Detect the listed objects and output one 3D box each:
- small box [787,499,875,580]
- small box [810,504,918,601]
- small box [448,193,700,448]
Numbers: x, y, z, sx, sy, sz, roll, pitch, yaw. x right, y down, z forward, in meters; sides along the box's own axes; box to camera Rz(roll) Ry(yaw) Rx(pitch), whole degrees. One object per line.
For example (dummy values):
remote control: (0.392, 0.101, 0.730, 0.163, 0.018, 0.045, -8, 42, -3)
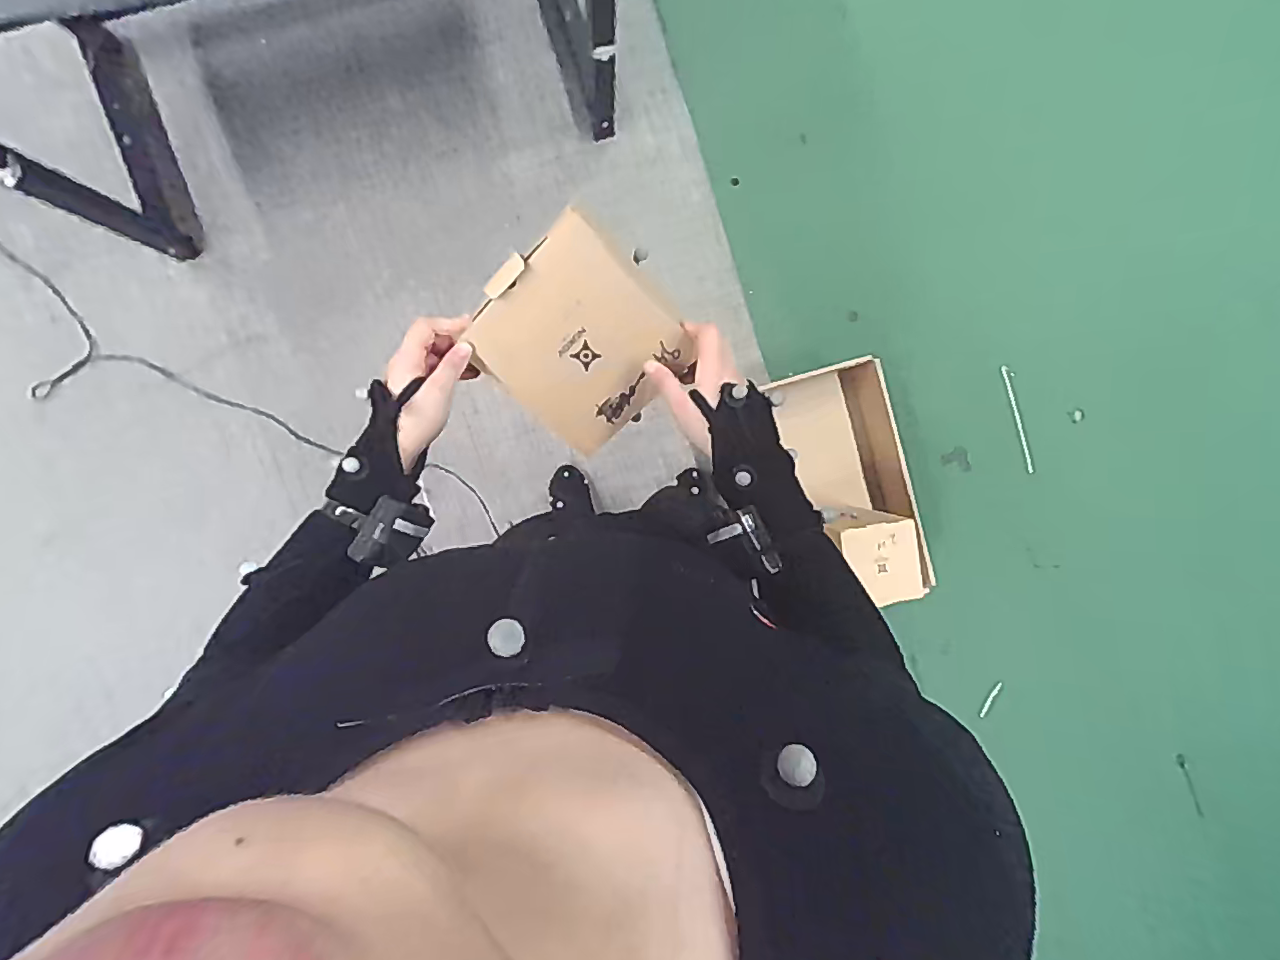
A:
small box: (0.500, 0.147, 1.400, 0.179, 0.176, 0.168, -10, 94, -1)
small box: (0.505, 0.159, 1.235, 0.168, 0.176, 0.179, -9, 94, -3)
small box: (-0.065, -0.172, 0.567, 0.168, 0.176, 0.179, -40, 118, 19)
